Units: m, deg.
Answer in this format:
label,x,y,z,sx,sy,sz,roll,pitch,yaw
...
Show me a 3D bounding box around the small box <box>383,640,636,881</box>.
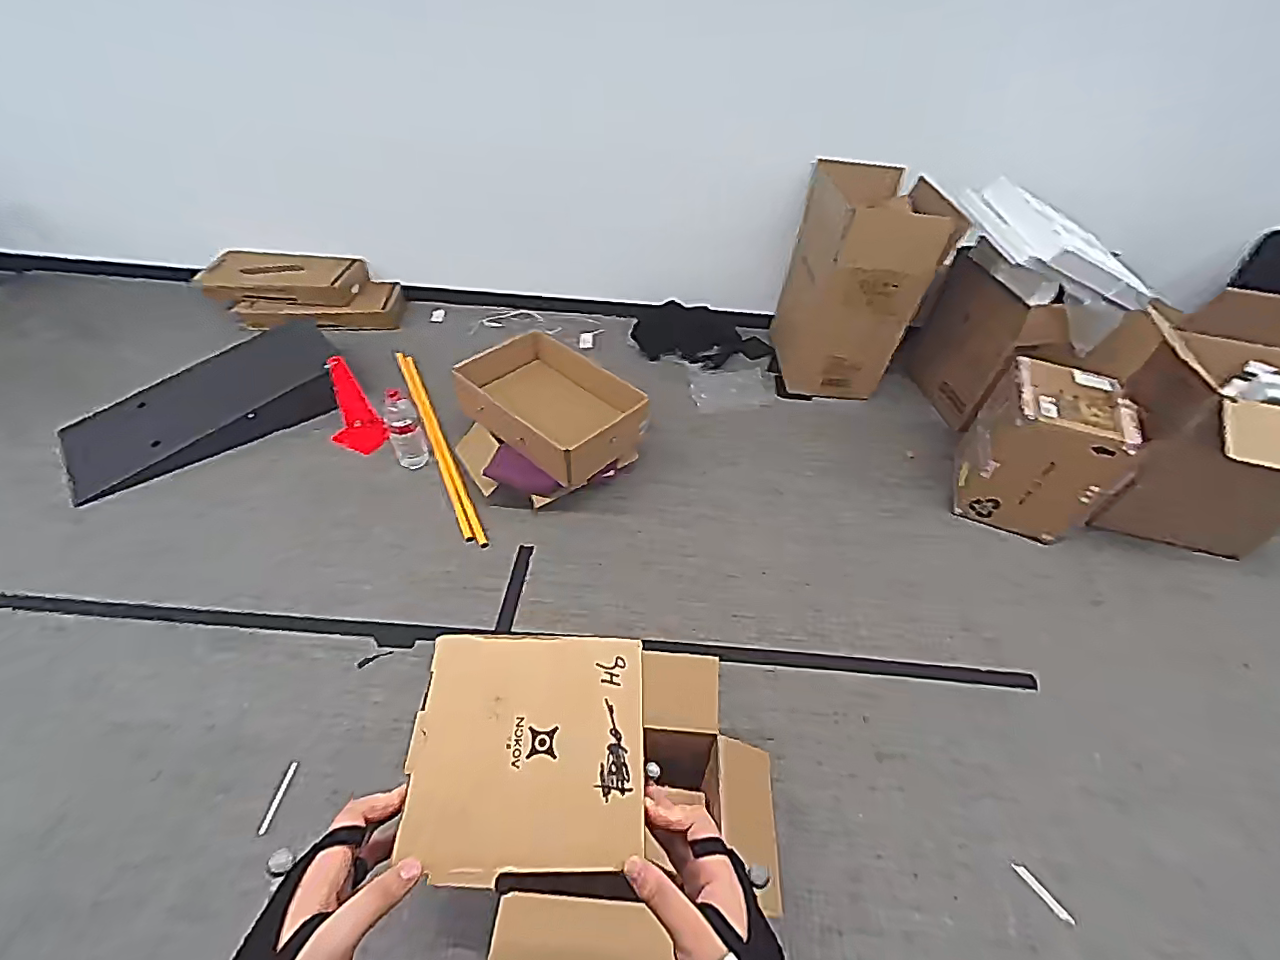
label,x,y,z,sx,sy,sz,roll,pitch,yaw
small box,-0.095,0.252,0.481,0.179,0.176,0.168,2,53,-4
